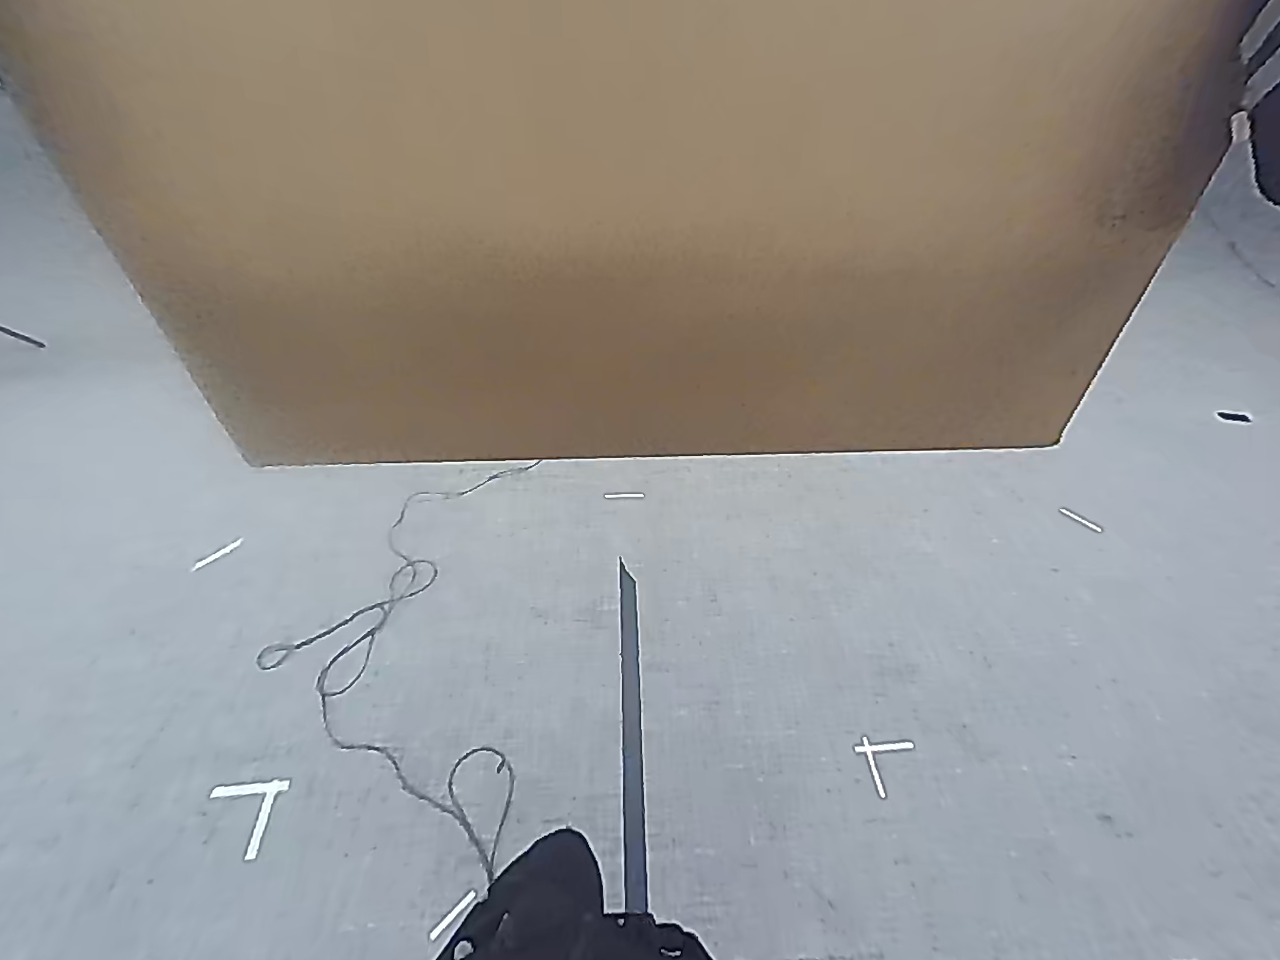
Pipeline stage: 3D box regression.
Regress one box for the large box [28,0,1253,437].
[{"bbox_3d":[0.000,-0.234,0.297,0.408,0.320,0.320,-1,41,0],"label":"large box"}]
